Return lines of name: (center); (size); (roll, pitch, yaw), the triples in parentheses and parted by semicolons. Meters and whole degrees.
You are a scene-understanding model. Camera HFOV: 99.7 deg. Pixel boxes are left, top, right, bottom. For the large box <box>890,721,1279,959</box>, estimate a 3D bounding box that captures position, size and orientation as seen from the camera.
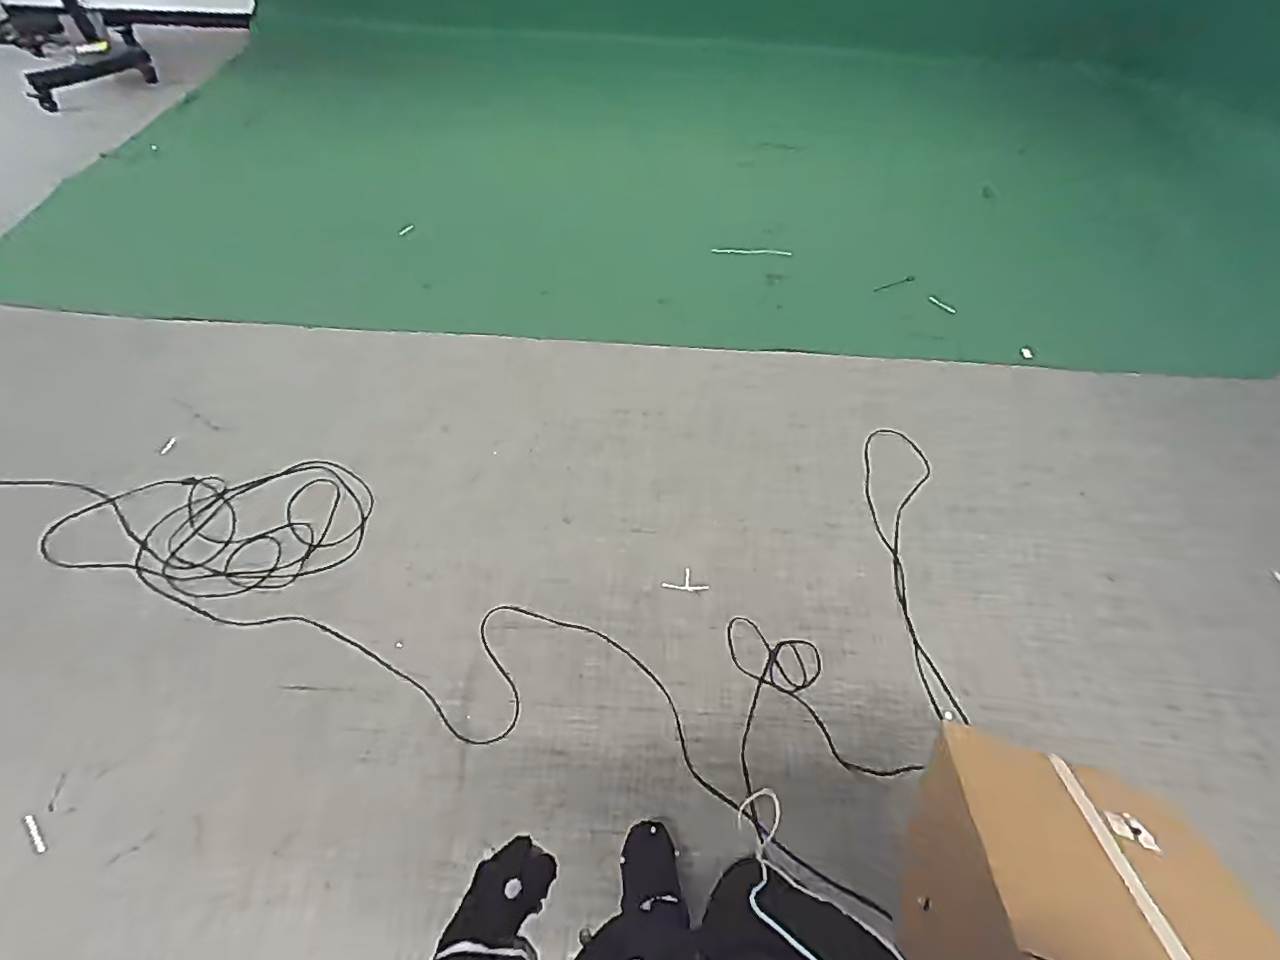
large box: (0.538, 0.602, 0.689); (0.320, 0.320, 0.408); (16, 13, 17)
